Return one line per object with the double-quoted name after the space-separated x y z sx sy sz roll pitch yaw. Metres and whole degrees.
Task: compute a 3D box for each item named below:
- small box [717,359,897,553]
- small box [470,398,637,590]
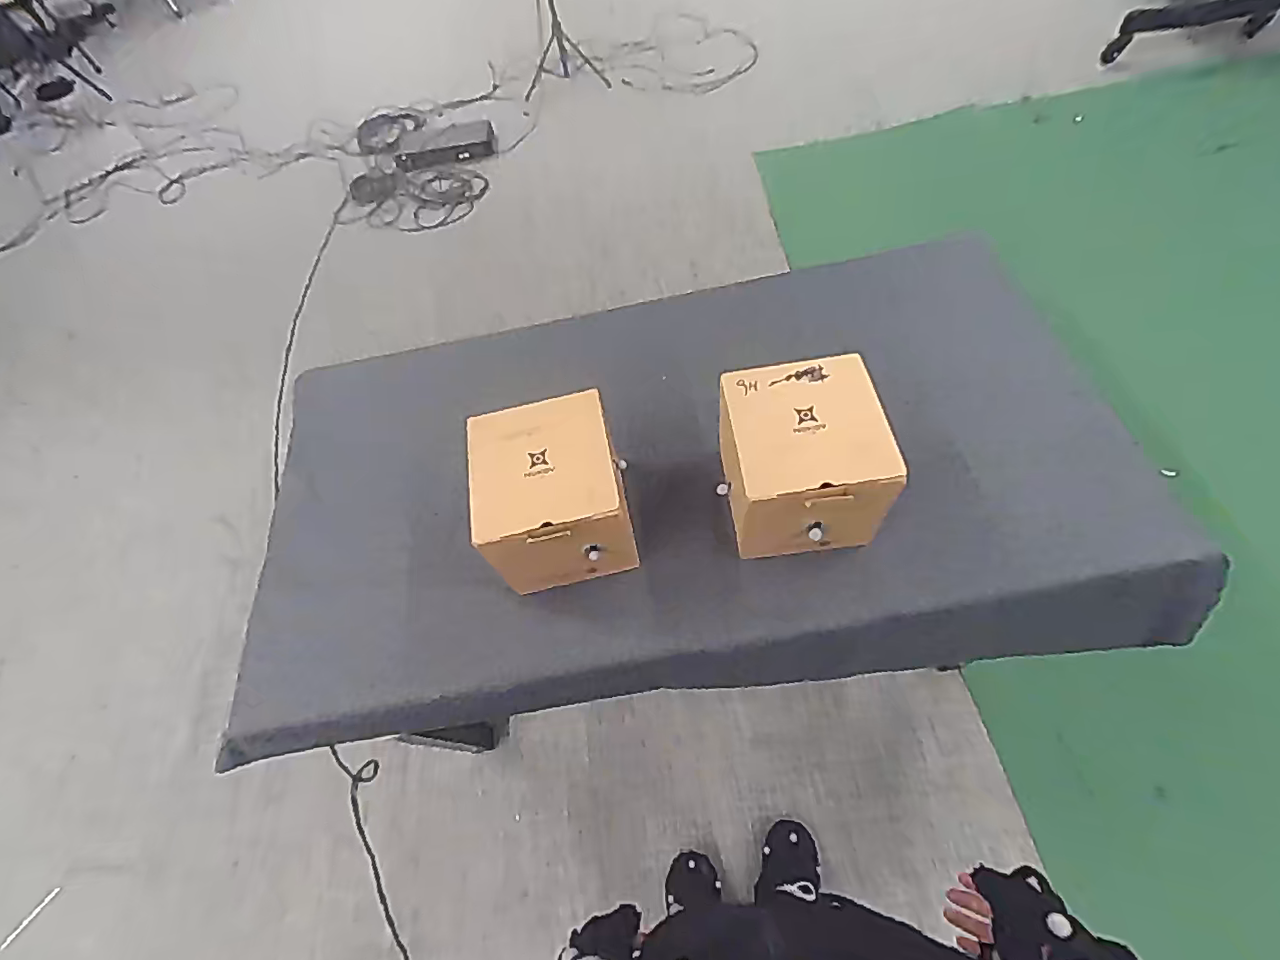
0.192 -0.018 0.673 0.168 0.176 0.179 -9 60 4 "small box"
-0.106 0.028 0.697 0.168 0.176 0.179 -14 58 0 "small box"
